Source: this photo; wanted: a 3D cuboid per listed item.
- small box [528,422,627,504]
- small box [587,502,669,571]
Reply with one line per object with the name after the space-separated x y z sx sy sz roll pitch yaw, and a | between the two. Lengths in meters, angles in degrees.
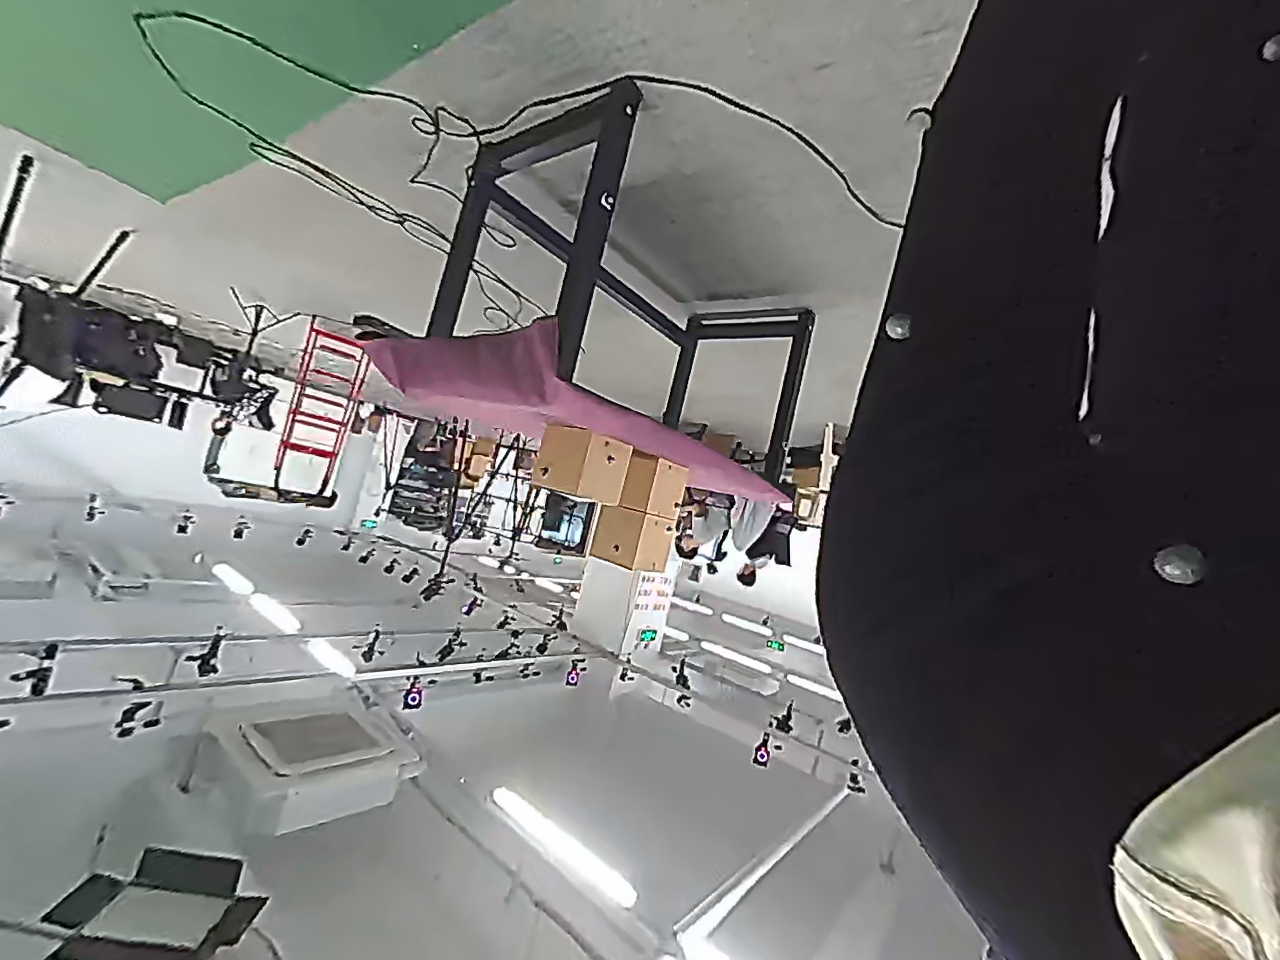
-0.158 -0.047 1.410 0.179 0.176 0.168 11 176 38 | small box
-0.029 0.167 1.629 0.179 0.176 0.168 12 176 38 | small box
